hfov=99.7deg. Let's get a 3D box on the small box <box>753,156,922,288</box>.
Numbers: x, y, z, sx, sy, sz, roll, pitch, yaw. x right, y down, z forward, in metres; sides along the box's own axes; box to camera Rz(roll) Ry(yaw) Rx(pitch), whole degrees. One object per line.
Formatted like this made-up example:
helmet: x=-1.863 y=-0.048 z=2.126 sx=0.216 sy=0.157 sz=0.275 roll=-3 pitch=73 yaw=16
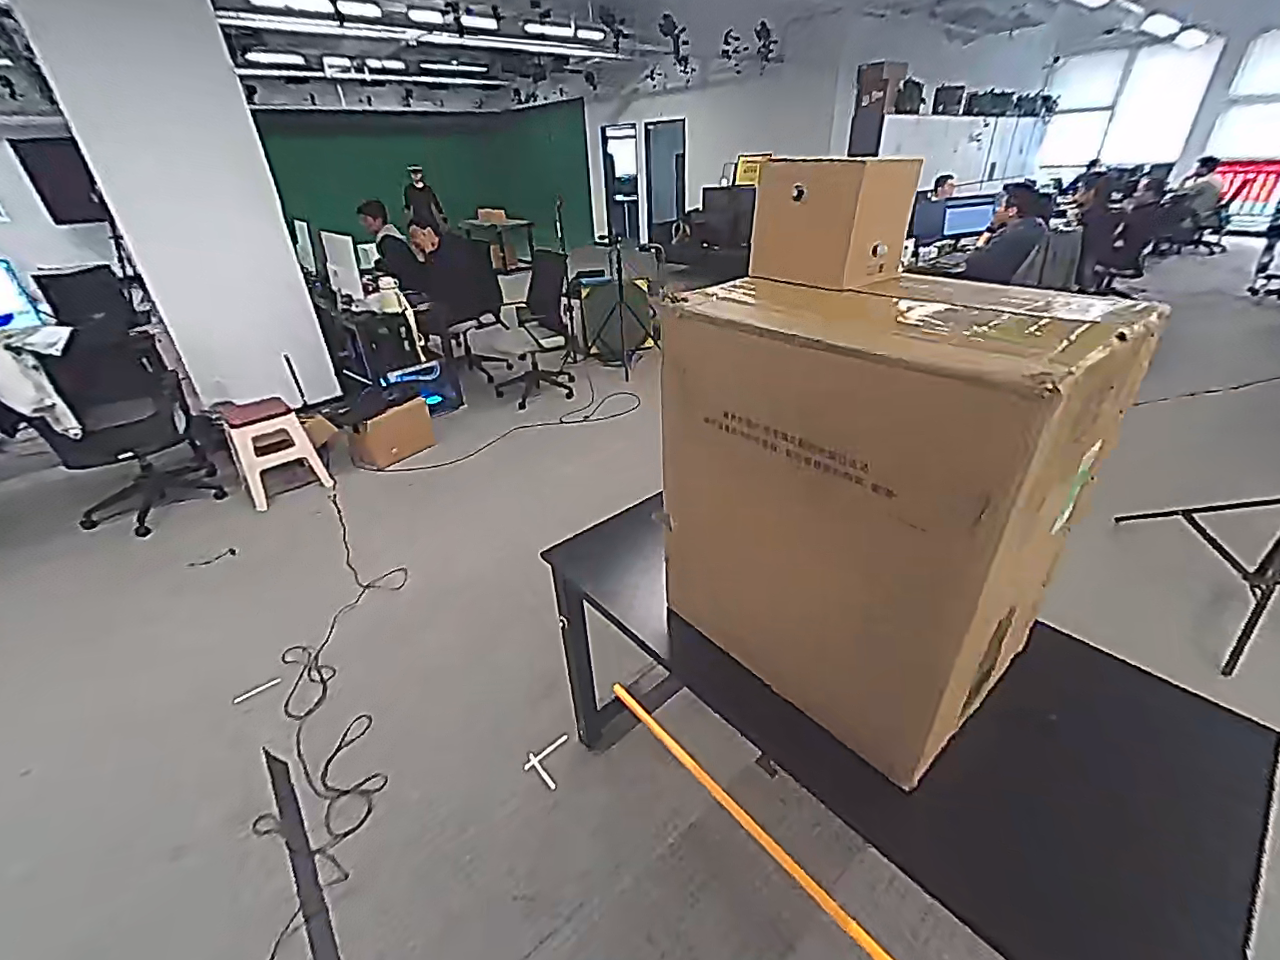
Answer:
small box: x=0.294 y=-0.400 z=0.838 sx=0.168 sy=0.176 sz=0.179 roll=-24 pitch=38 yaw=-34
